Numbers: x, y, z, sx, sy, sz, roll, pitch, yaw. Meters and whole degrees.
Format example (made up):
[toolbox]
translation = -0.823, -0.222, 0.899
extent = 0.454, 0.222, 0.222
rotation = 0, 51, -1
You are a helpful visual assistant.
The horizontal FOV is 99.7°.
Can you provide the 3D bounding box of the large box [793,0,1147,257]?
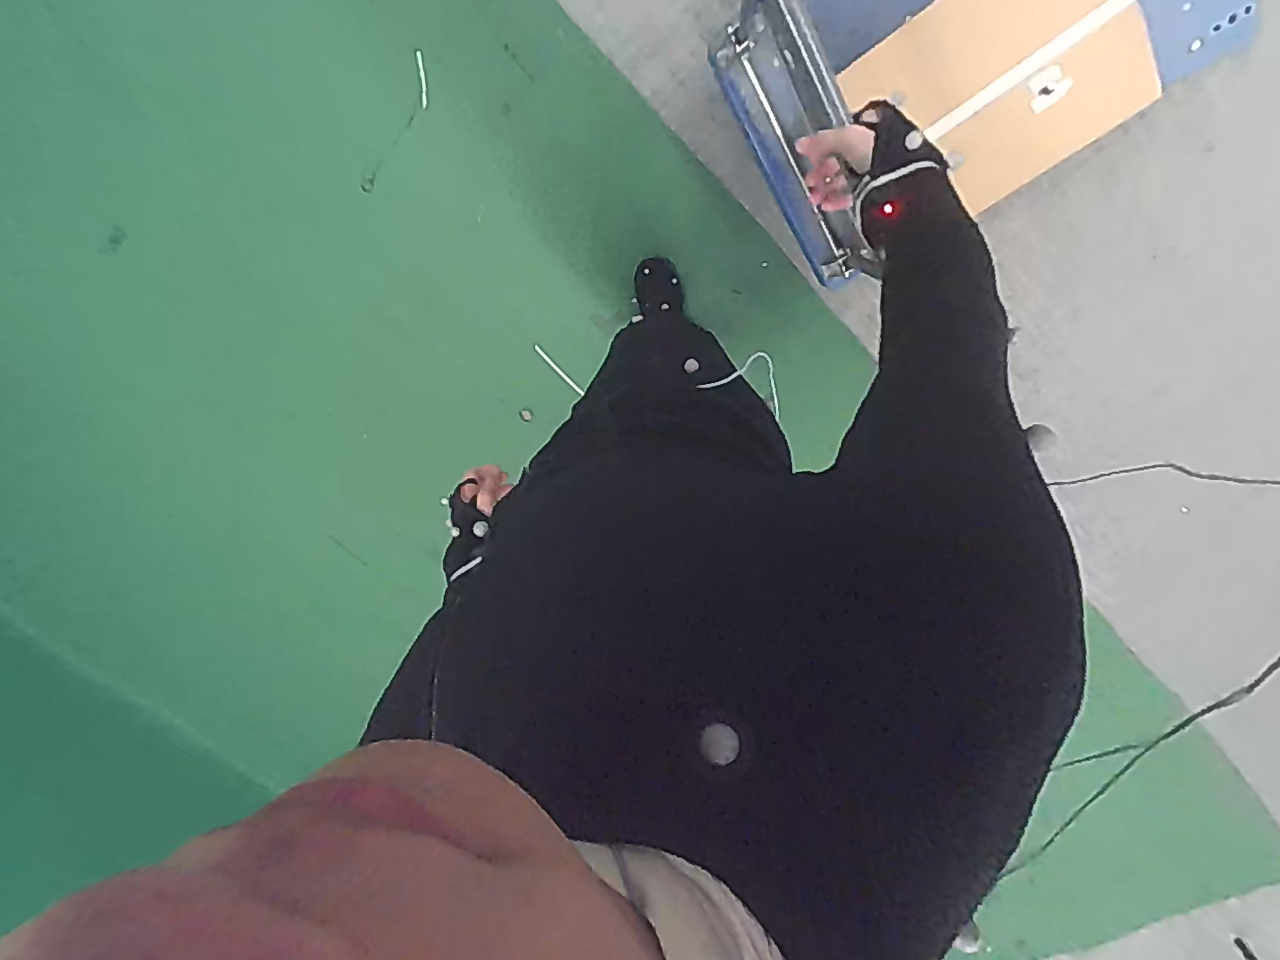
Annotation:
[large box]
translation = 0.552, -0.663, 0.987
extent = 0.408, 0.320, 0.320
rotation = -31, 108, 17
